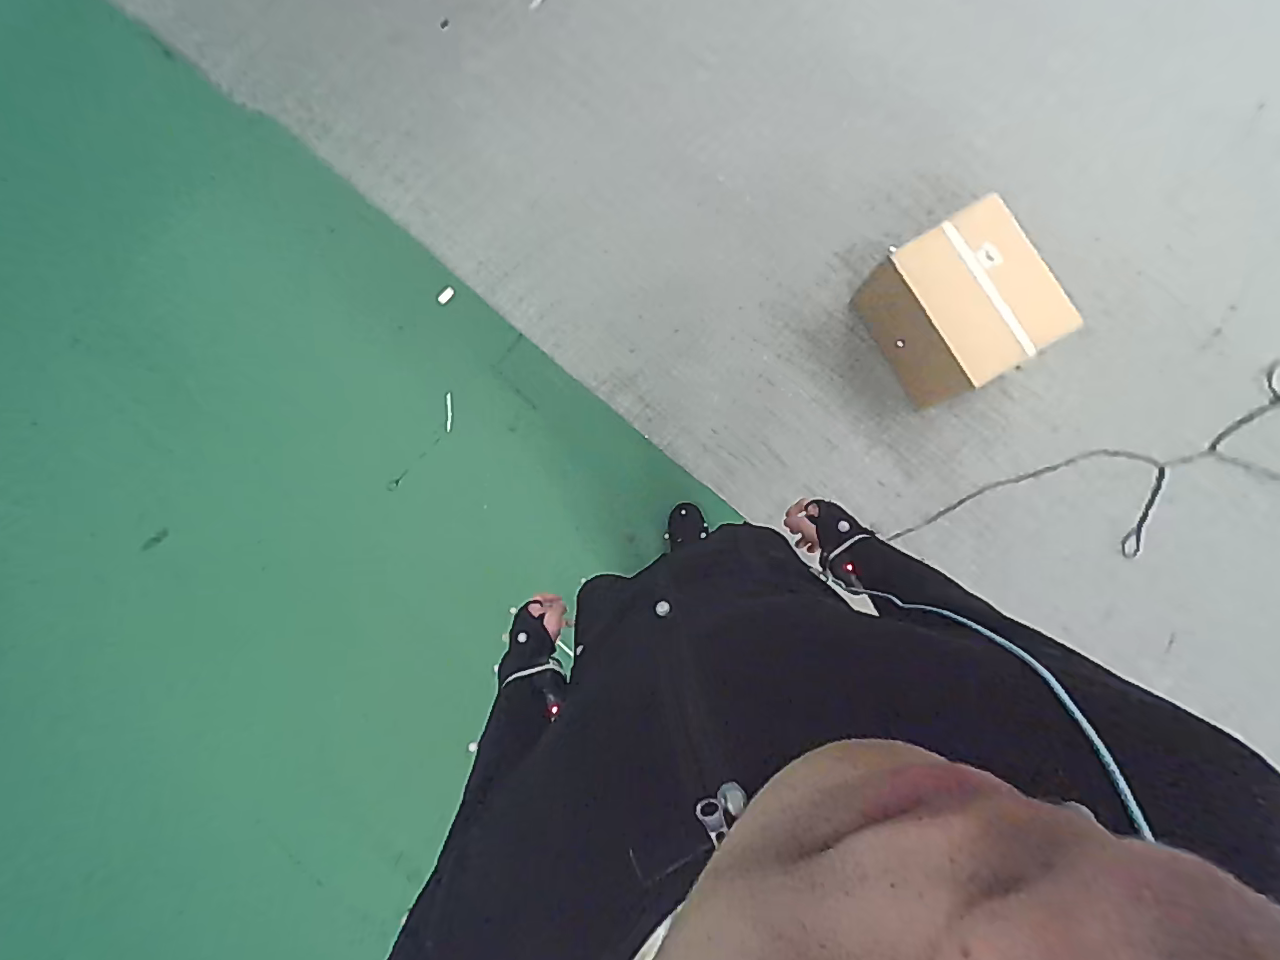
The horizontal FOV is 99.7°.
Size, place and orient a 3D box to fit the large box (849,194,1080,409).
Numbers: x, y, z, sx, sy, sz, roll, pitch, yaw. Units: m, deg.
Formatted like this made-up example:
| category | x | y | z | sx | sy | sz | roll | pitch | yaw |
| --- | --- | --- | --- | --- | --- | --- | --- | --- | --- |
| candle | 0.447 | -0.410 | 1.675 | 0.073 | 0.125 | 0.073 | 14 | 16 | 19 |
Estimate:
| category | x | y | z | sx | sy | sz | roll | pitch | yaw |
| --- | --- | --- | --- | --- | --- | --- | --- | --- | --- |
| large box | 0.856 | -0.465 | 1.489 | 0.320 | 0.320 | 0.408 | -31 | 84 | 1 |
